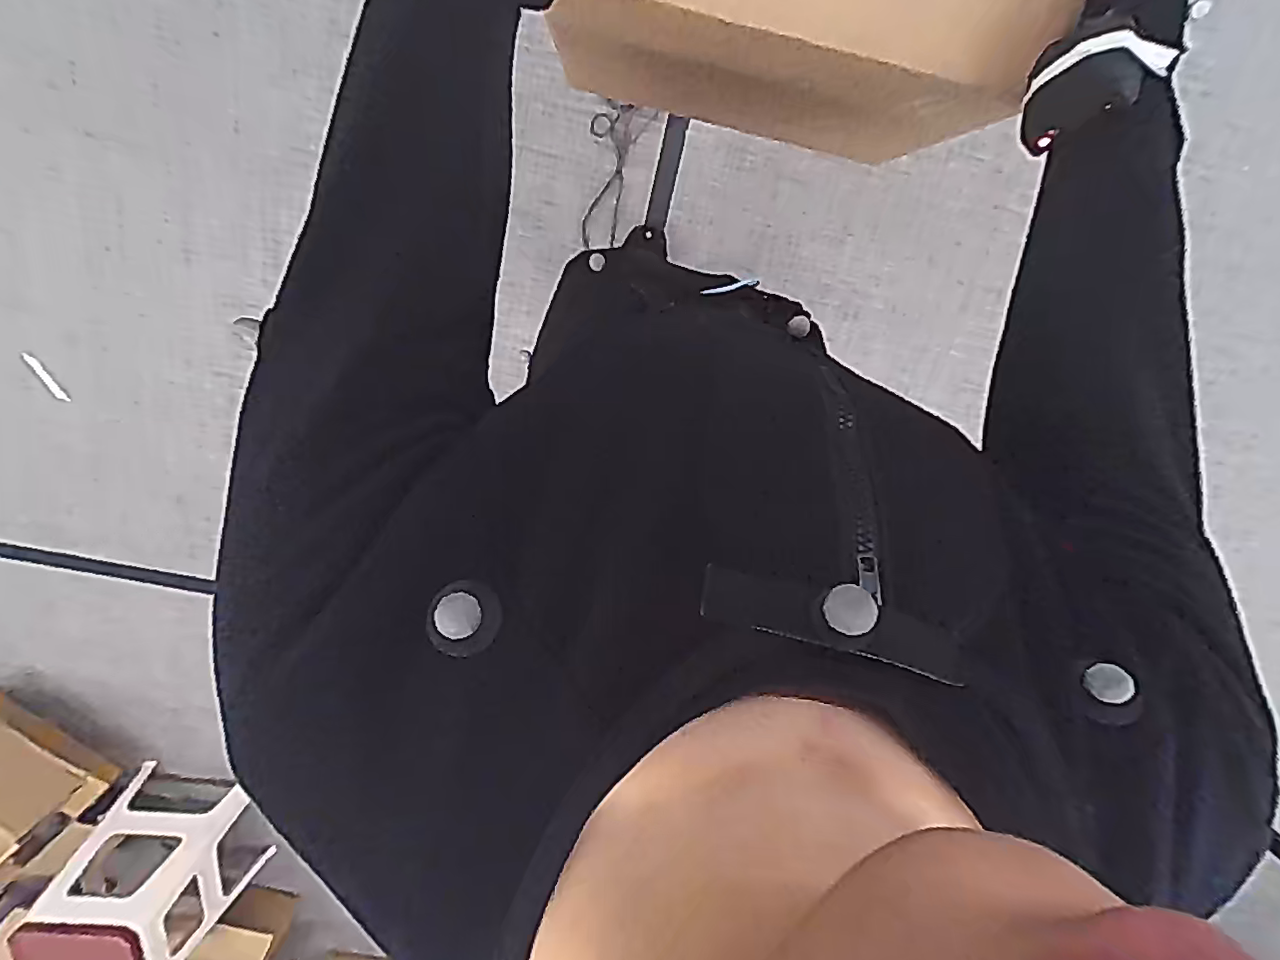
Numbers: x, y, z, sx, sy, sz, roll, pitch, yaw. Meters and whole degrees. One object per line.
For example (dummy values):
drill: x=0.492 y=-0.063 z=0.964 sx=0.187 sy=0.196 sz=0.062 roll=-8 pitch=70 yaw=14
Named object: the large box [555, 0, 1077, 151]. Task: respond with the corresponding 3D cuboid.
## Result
large box: x=0.145 y=-0.534 z=0.481 sx=0.408 sy=0.320 sz=0.320 roll=11 pitch=113 yaw=-6
